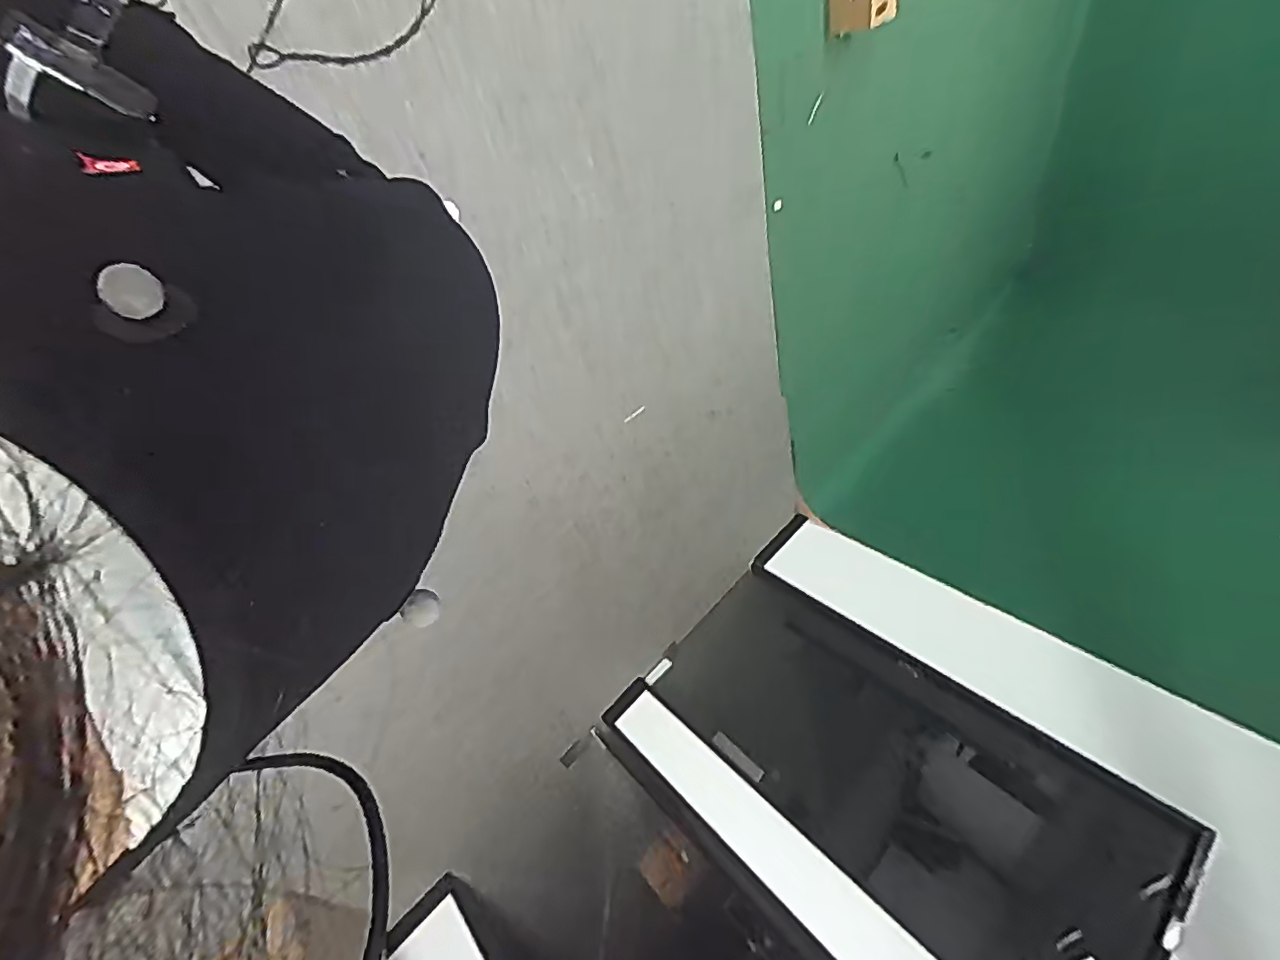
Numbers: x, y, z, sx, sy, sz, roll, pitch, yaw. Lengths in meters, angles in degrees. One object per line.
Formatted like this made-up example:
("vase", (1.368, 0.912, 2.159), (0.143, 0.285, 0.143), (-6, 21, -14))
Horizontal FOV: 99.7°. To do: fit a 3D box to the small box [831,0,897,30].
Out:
("small box", (0.805, -1.746, 1.941), (0.168, 0.176, 0.179), (-38, 134, -24))
